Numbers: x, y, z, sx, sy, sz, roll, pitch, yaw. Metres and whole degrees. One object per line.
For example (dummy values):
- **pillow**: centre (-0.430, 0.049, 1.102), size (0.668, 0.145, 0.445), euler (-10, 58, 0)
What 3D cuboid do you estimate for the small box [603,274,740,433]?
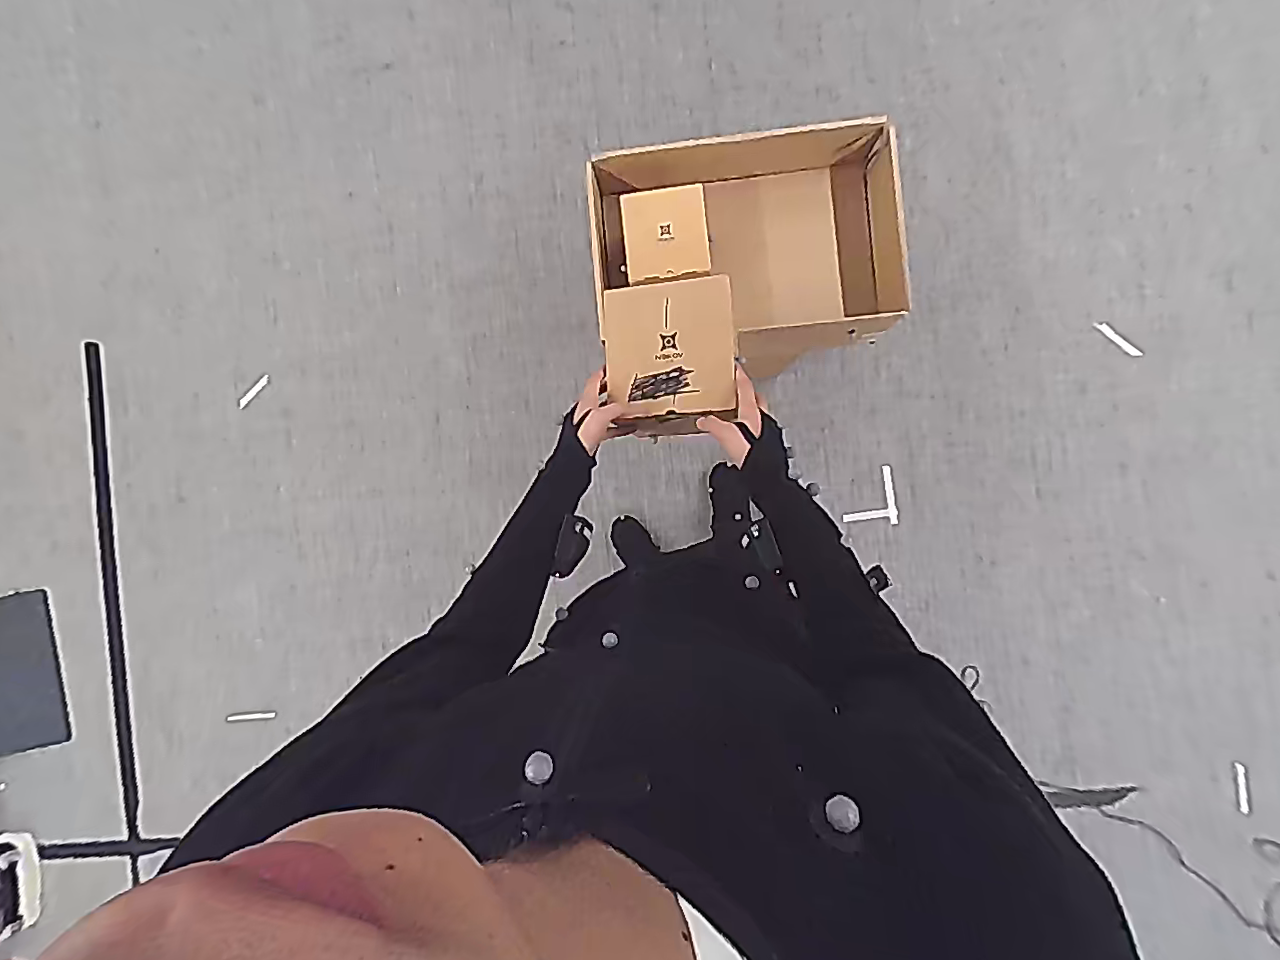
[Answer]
- **small box**: centre (0.051, -0.161, 0.758), size (0.168, 0.176, 0.179), euler (-3, 86, 13)

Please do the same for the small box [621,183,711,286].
- **small box**: centre (0.055, -0.486, 1.137), size (0.168, 0.176, 0.179), euler (-6, 90, 4)
